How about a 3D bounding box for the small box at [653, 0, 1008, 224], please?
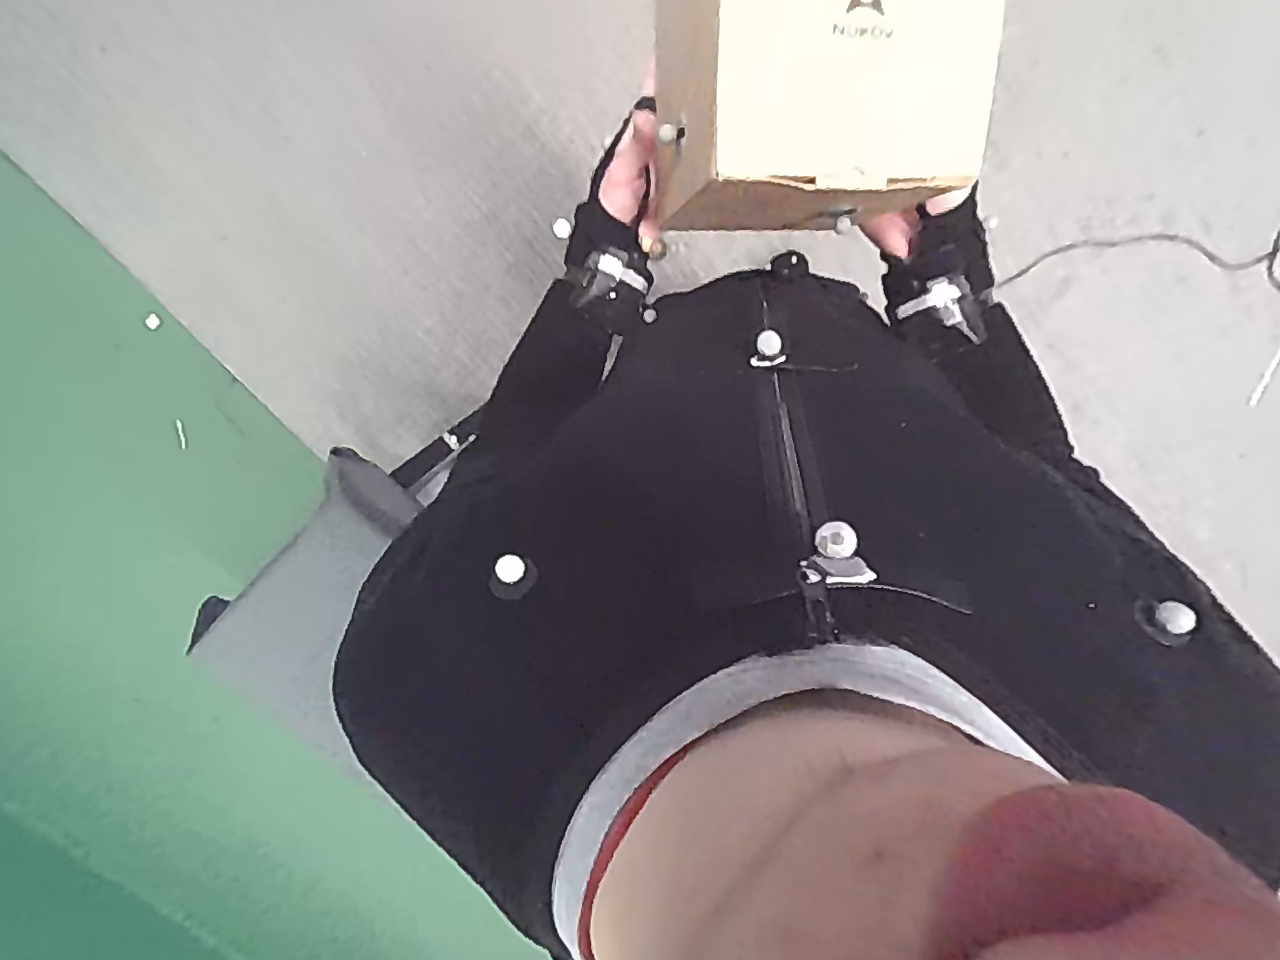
[{"bbox_3d":[0.105,-0.276,0.358,0.168,0.176,0.179,-5,106,-9],"label":"small box"}]
